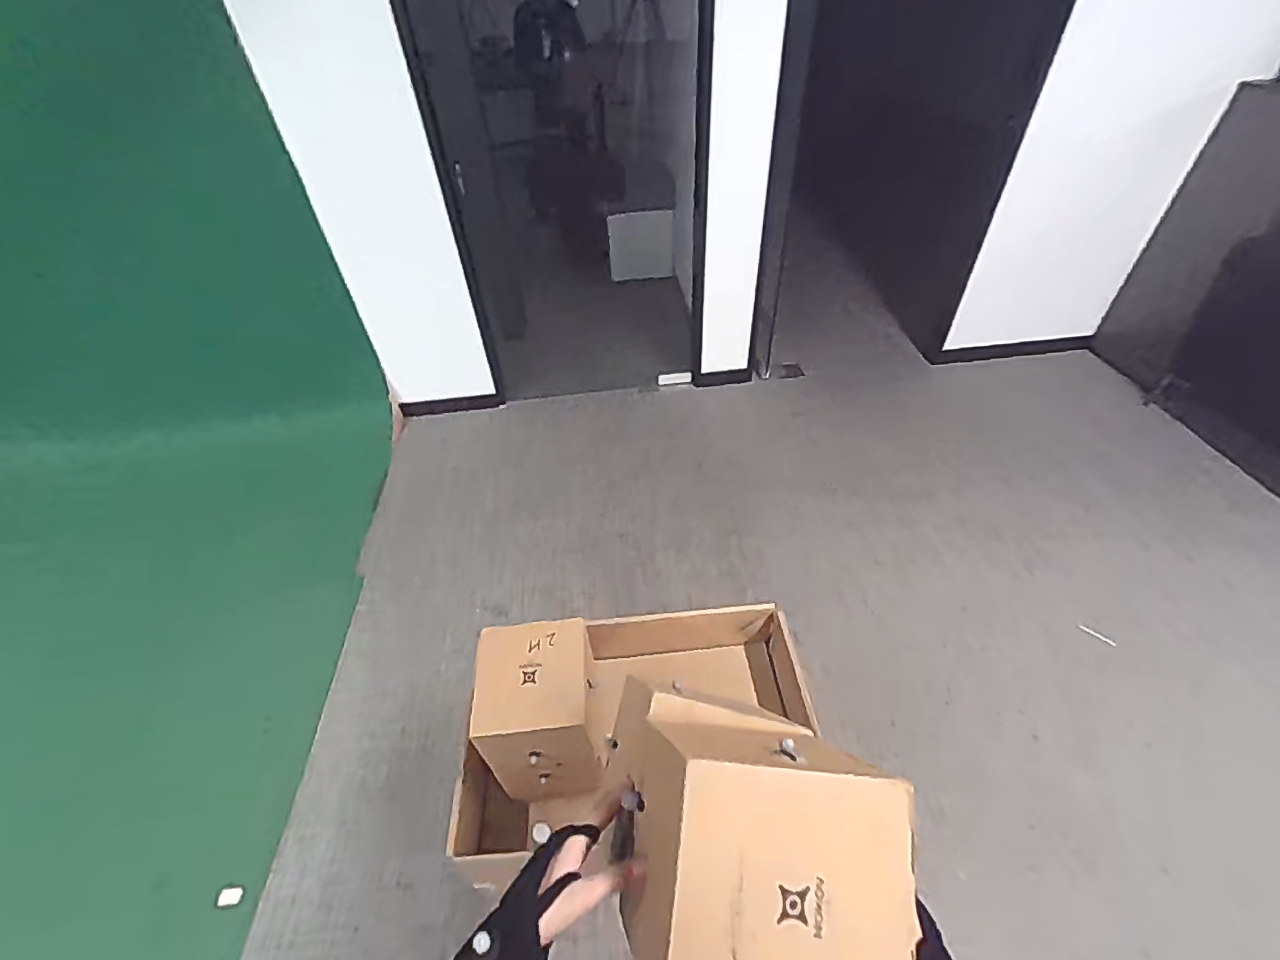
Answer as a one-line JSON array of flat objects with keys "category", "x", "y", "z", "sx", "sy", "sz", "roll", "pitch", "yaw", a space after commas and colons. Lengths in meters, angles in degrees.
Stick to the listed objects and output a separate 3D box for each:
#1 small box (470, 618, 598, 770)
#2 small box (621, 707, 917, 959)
[{"category": "small box", "x": -0.158, "y": 0.346, "z": 0.866, "sx": 0.168, "sy": 0.176, "sz": 0.179, "roll": -5, "pitch": 44, "yaw": -1}, {"category": "small box", "x": 0.090, "y": 0.287, "z": 0.435, "sx": 0.179, "sy": 0.176, "sz": 0.168, "roll": 9, "pitch": 73, "yaw": -7}]
